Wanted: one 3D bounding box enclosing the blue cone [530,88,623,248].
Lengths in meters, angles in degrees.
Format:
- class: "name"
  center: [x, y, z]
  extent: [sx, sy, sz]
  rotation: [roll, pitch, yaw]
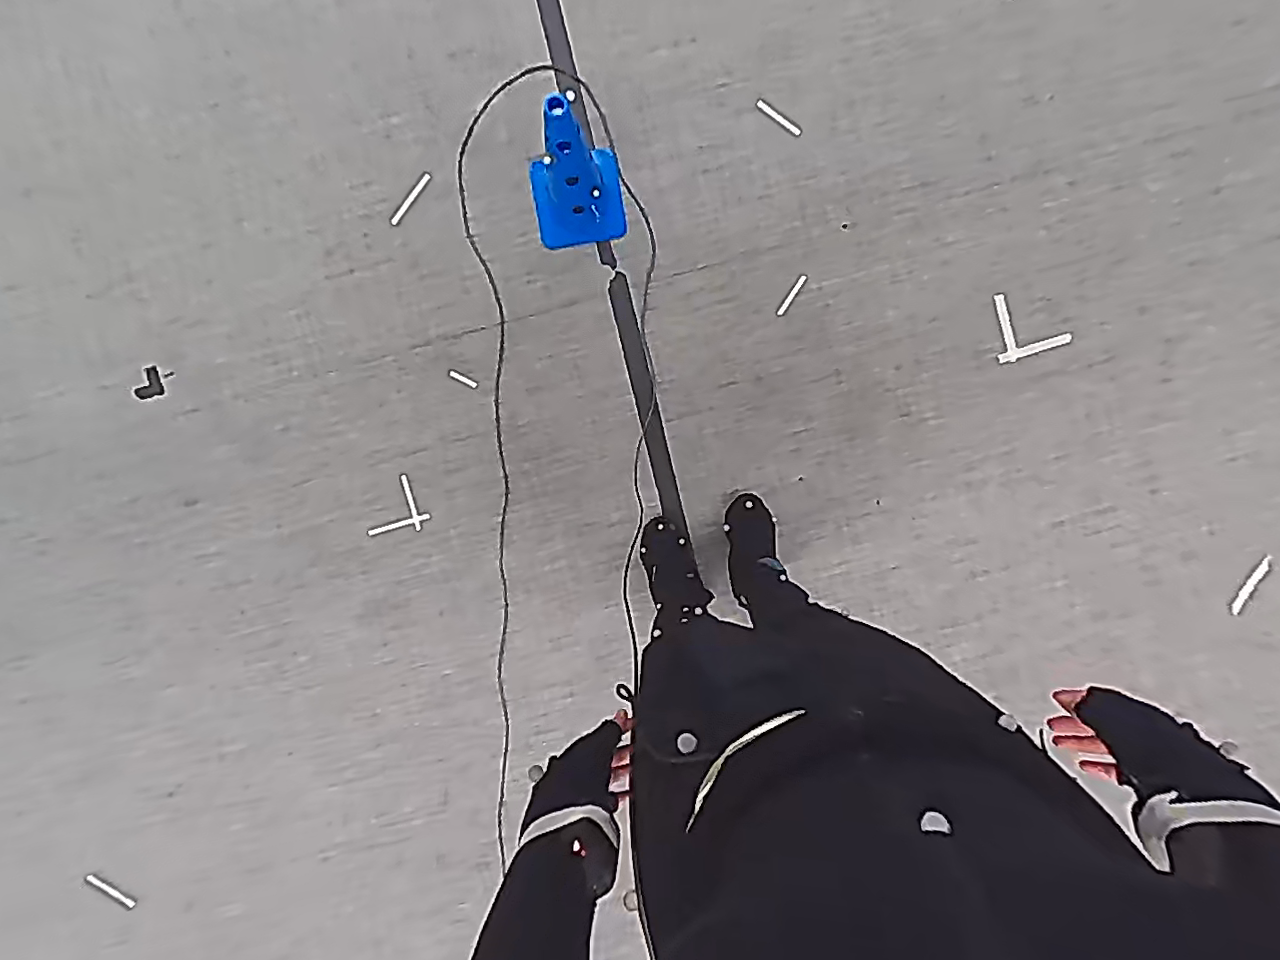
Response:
- class: "blue cone"
  center: [-0.141, -0.613, 1.048]
  extent: [0.193, 0.380, 0.192]
  rotation: [-11, 94, 1]
